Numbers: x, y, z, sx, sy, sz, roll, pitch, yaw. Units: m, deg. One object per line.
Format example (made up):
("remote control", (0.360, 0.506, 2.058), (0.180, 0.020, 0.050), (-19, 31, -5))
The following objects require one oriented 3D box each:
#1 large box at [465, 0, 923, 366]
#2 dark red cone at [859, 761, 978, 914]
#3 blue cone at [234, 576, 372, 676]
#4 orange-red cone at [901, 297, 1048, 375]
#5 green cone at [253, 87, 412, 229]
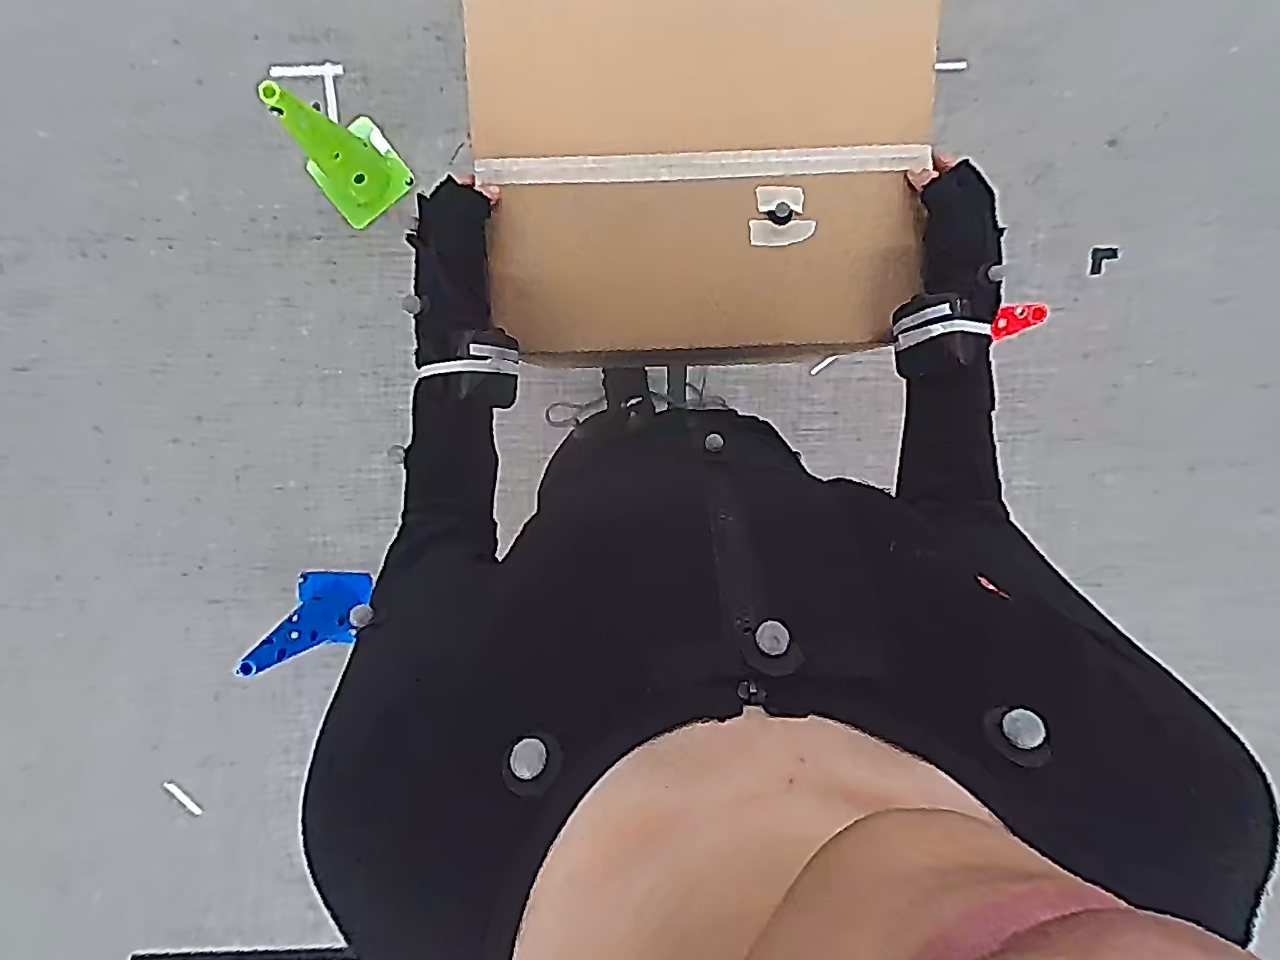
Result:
("large box", (0.049, -0.308, 0.632), (0.408, 0.320, 0.320), (-2, 99, -1))
("dark red cone", (0.742, 0.930, 1.403), (0.201, 0.394, 0.202), (5, 97, -1))
("blue cone", (-0.833, 0.377, 1.327), (0.192, 0.380, 0.193), (2, 97, -1))
("orange-red cone", (0.796, -0.362, 1.263), (0.198, 0.360, 0.199), (-4, 96, -2))
("green cone", (-0.693, -0.736, 1.171), (0.202, 0.368, 0.200), (-38, 96, 5))
